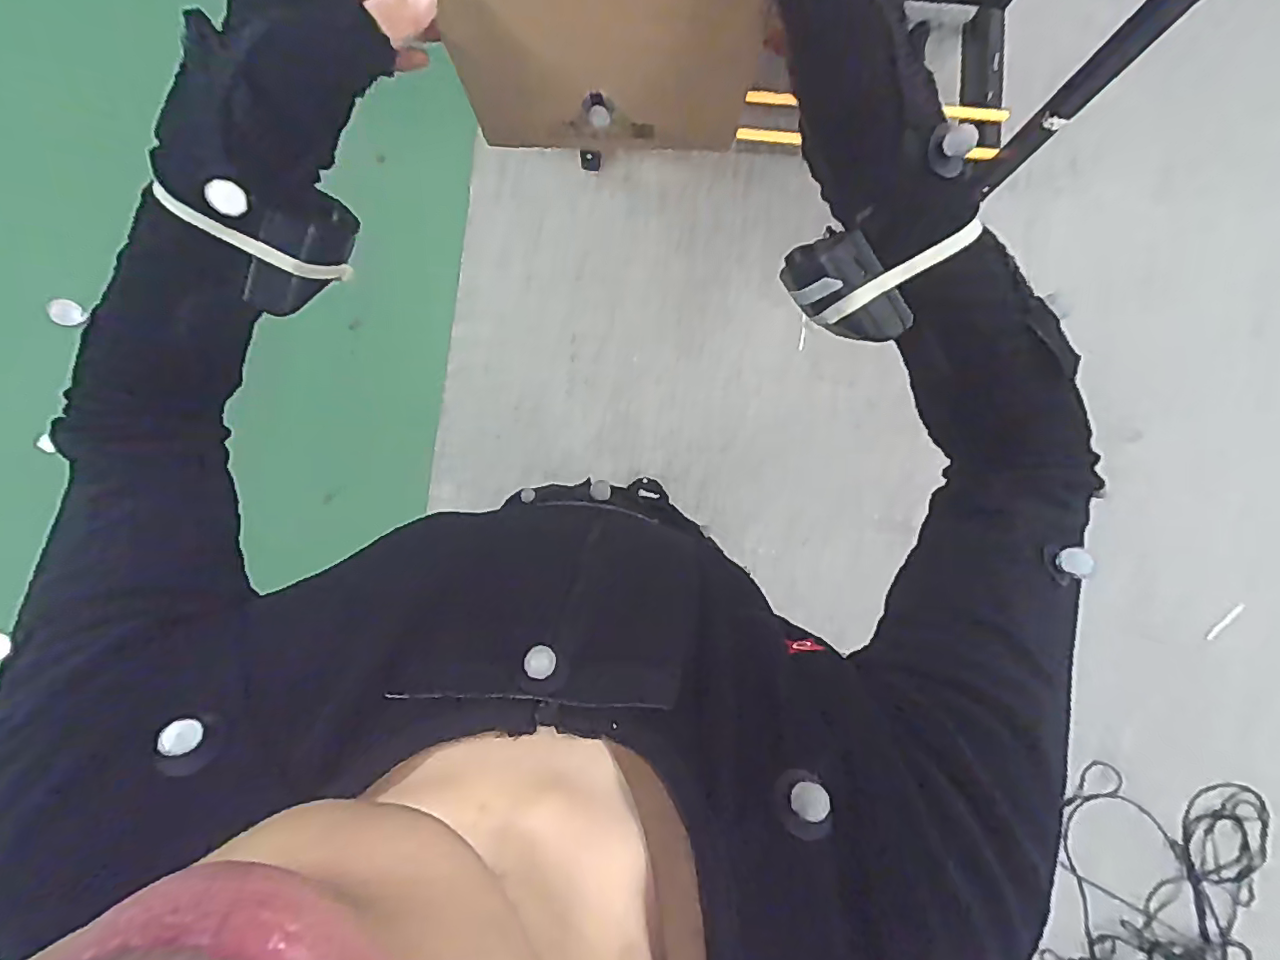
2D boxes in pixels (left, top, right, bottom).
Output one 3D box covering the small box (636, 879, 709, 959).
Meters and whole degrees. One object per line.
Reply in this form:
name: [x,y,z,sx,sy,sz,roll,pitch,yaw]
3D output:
small box: [0.074,1.119,1.327,0.168,0.176,0.179,1,85,0]
